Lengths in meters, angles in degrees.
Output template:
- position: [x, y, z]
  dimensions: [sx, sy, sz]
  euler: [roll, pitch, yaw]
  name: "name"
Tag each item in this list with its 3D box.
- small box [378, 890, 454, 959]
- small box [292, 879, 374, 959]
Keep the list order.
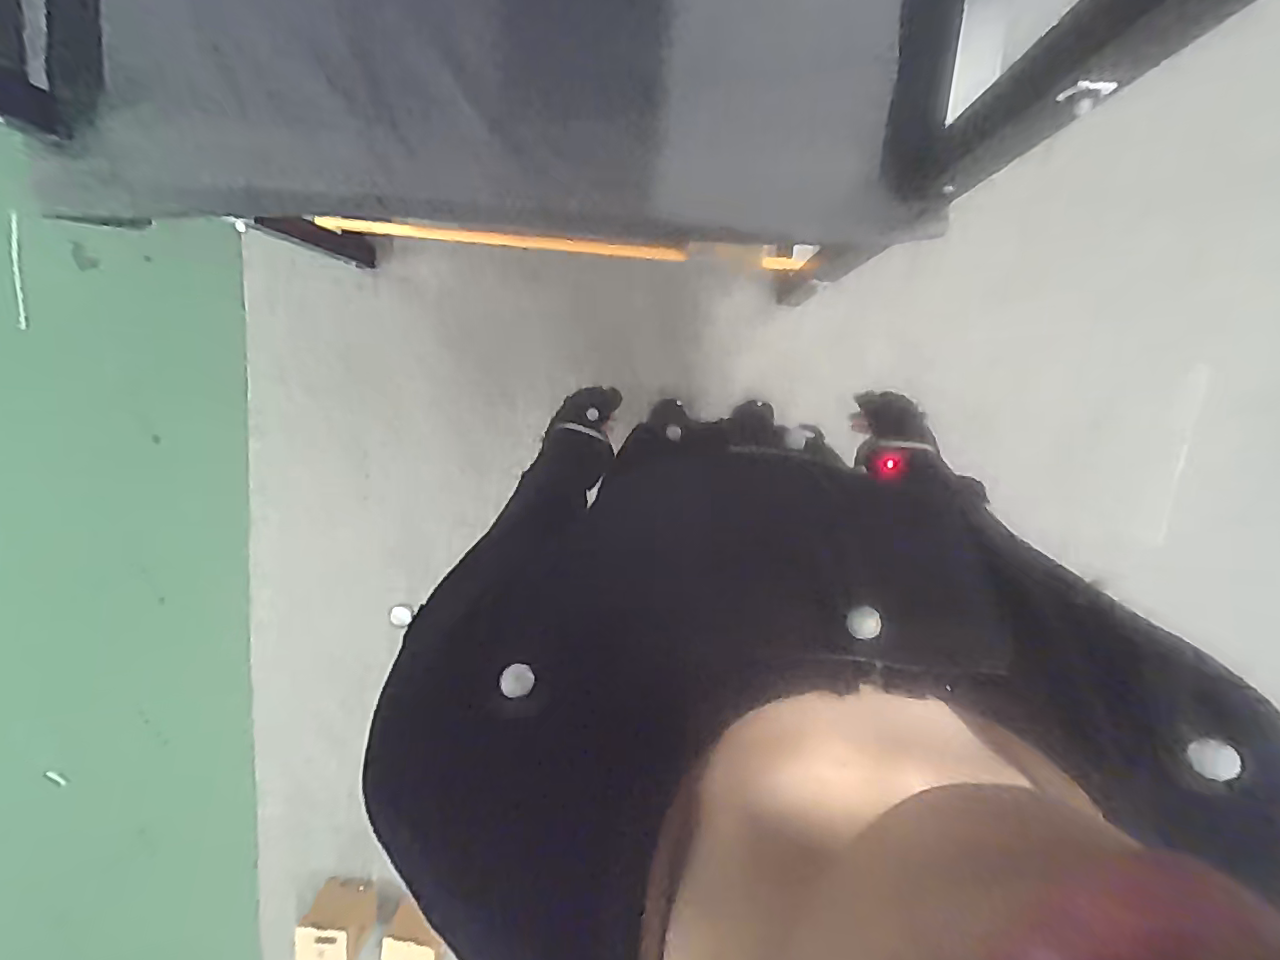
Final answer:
- position: [-0.704, 1.453, 1.706]
  dimensions: [0.168, 0.176, 0.179]
  euler: [9, 99, 3]
  name: "small box"
- position: [-0.970, 1.419, 1.720]
  dimensions: [0.168, 0.176, 0.179]
  euler: [5, 100, 4]
  name: "small box"
